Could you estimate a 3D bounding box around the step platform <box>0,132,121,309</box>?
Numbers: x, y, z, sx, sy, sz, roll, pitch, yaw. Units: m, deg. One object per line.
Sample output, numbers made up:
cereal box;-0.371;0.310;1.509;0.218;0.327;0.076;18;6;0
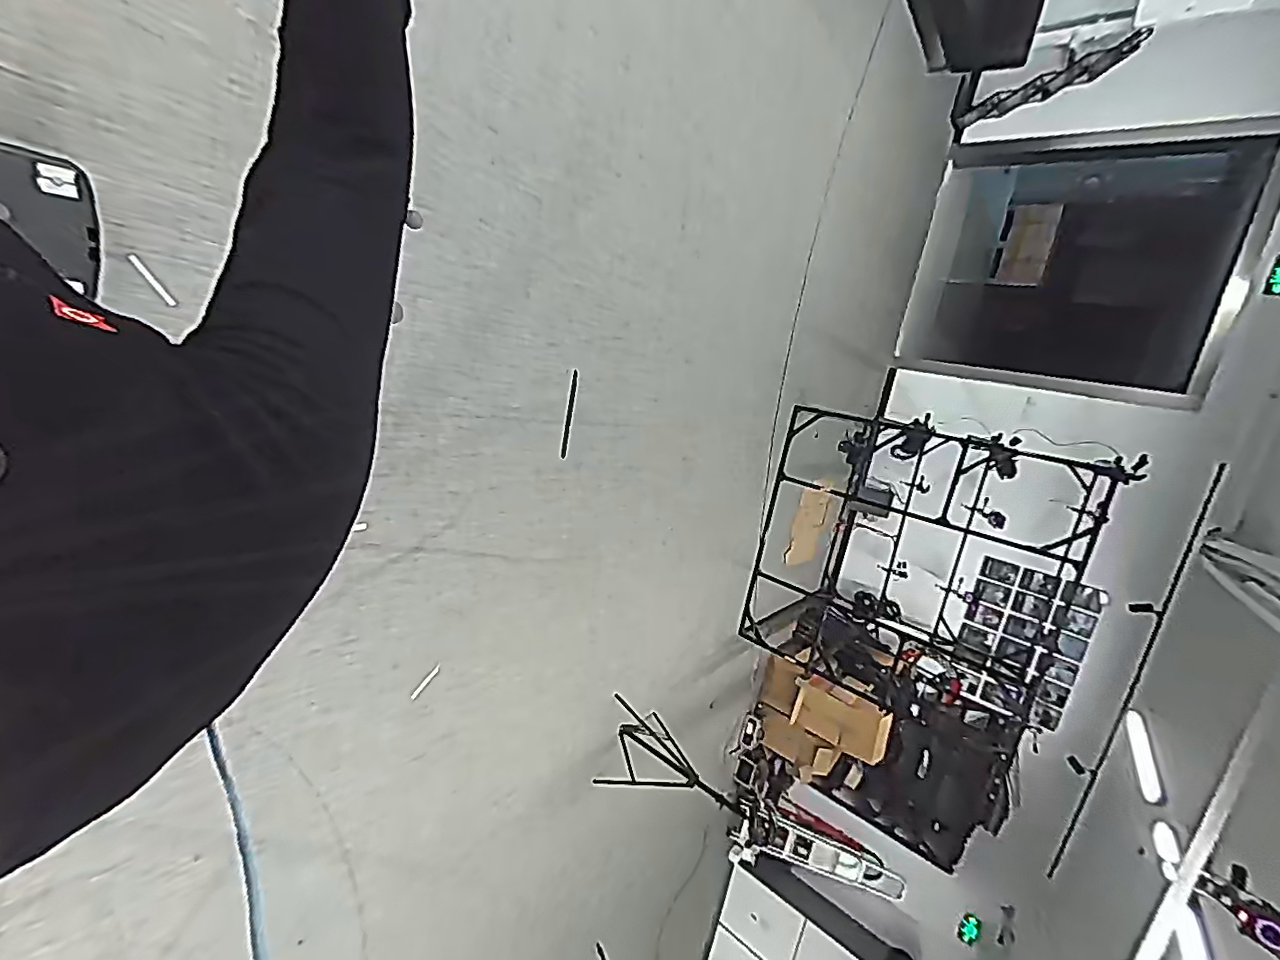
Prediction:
step platform;-1.282;-0.466;0.842;0.684;0.204;0.286;-8;112;-53
